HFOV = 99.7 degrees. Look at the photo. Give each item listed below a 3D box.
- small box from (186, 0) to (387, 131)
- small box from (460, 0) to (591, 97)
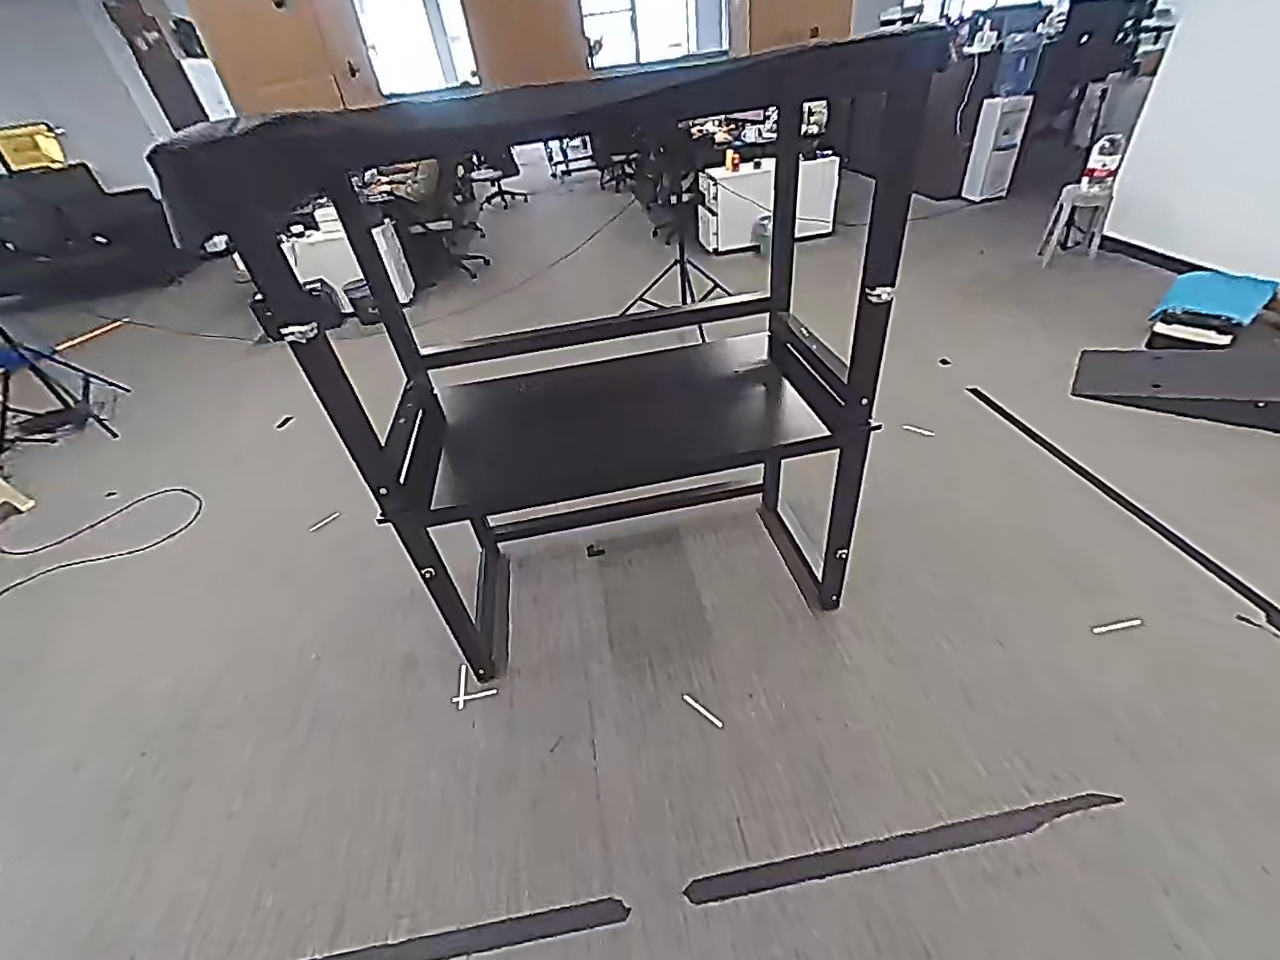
[{"bbox_3d":[-0.533,-0.655,0.841,0.179,0.176,0.168,-5,36,4],"label":"small box"},{"bbox_3d":[-0.186,-0.723,0.863,0.179,0.176,0.168,-12,37,-6],"label":"small box"}]
